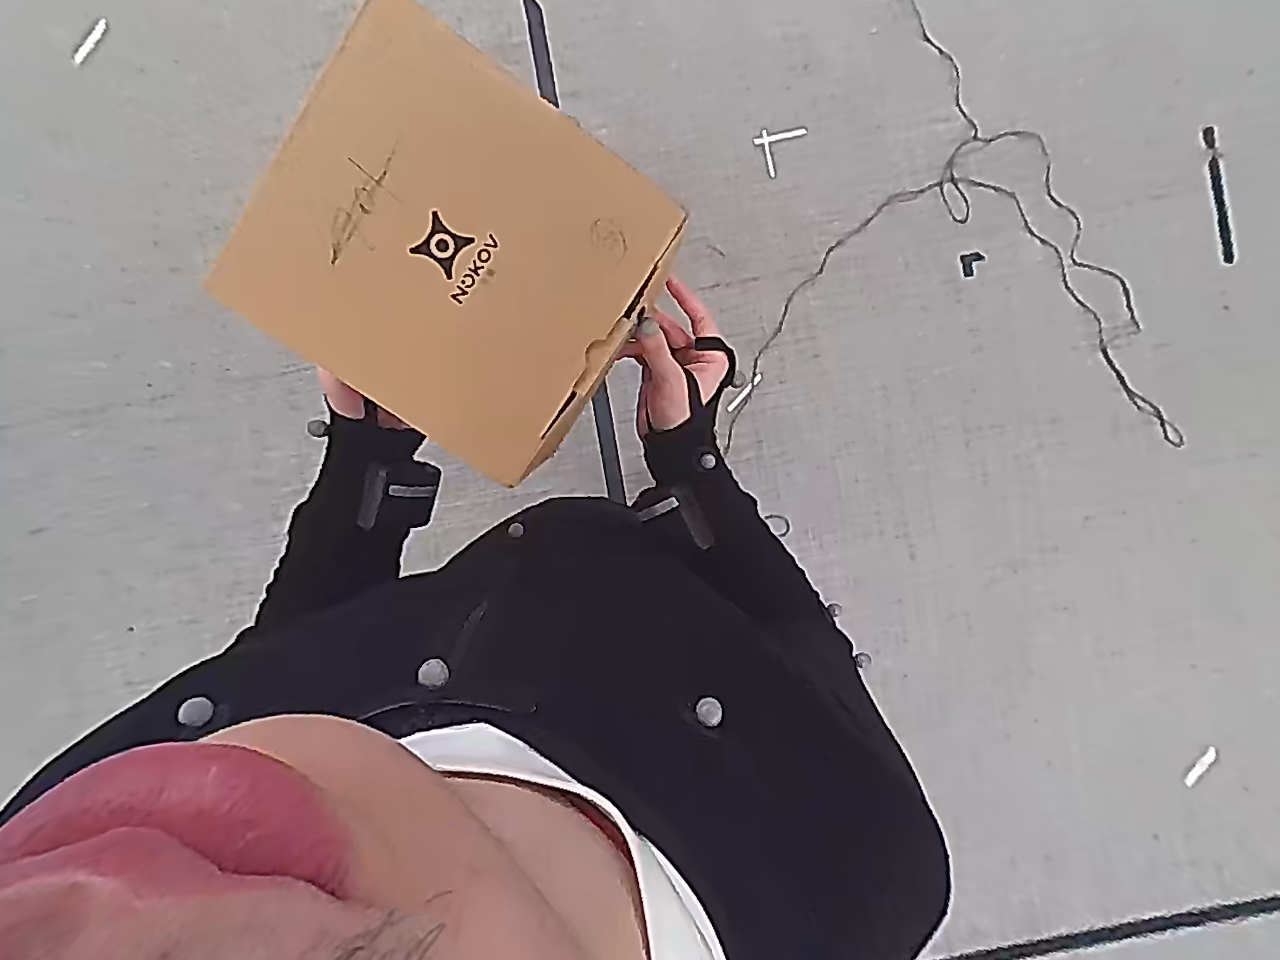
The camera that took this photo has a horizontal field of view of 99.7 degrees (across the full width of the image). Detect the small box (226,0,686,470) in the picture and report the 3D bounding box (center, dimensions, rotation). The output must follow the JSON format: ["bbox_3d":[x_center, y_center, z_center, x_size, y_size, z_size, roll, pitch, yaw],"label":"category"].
[{"bbox_3d":[-0.094,-0.128,0.350,0.179,0.176,0.168,33,94,-6],"label":"small box"}]
